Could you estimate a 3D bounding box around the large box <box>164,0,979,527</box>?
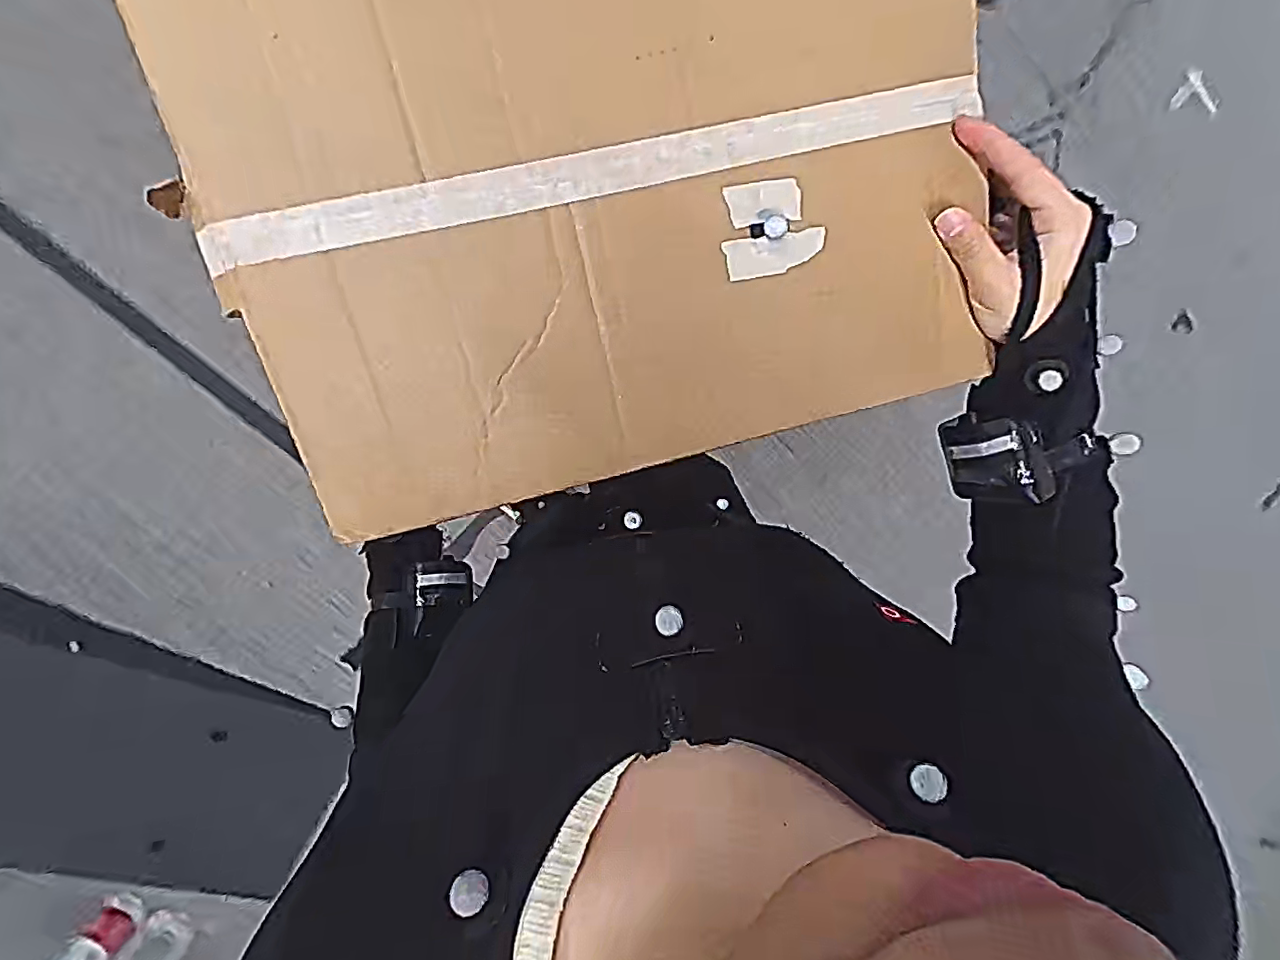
[{"bbox_3d":[-0.028,-0.197,0.434,0.408,0.320,0.320,-15,106,-8],"label":"large box"}]
